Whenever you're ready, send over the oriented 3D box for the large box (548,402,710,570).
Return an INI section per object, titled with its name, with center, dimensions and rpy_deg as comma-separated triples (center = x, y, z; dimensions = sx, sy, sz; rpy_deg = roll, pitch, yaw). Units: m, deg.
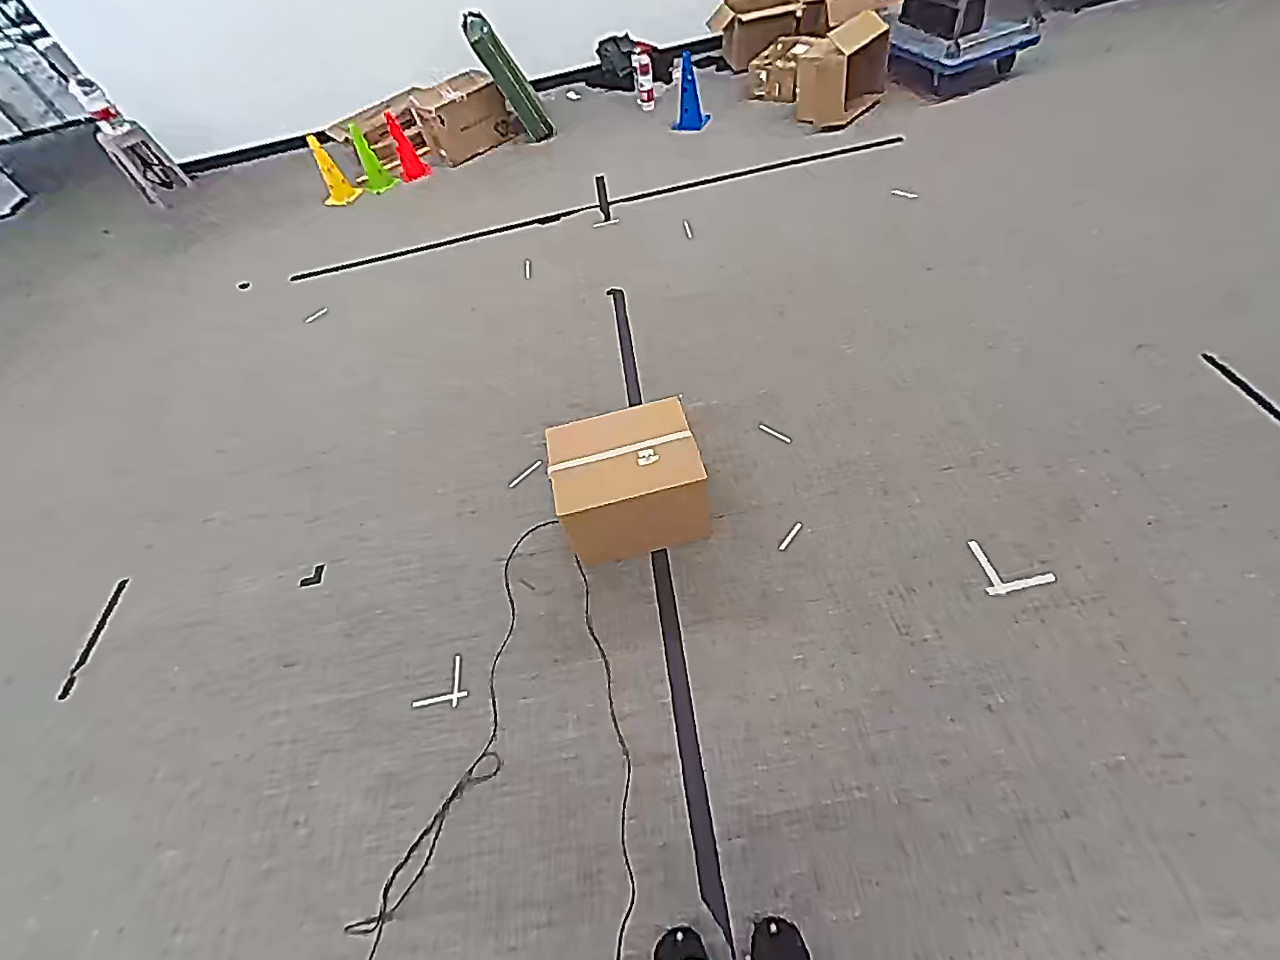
[large box]
center = -0.027, 0.024, 1.600
dimensions = 0.408, 0.320, 0.320
rpy_deg = -14, 54, -1
